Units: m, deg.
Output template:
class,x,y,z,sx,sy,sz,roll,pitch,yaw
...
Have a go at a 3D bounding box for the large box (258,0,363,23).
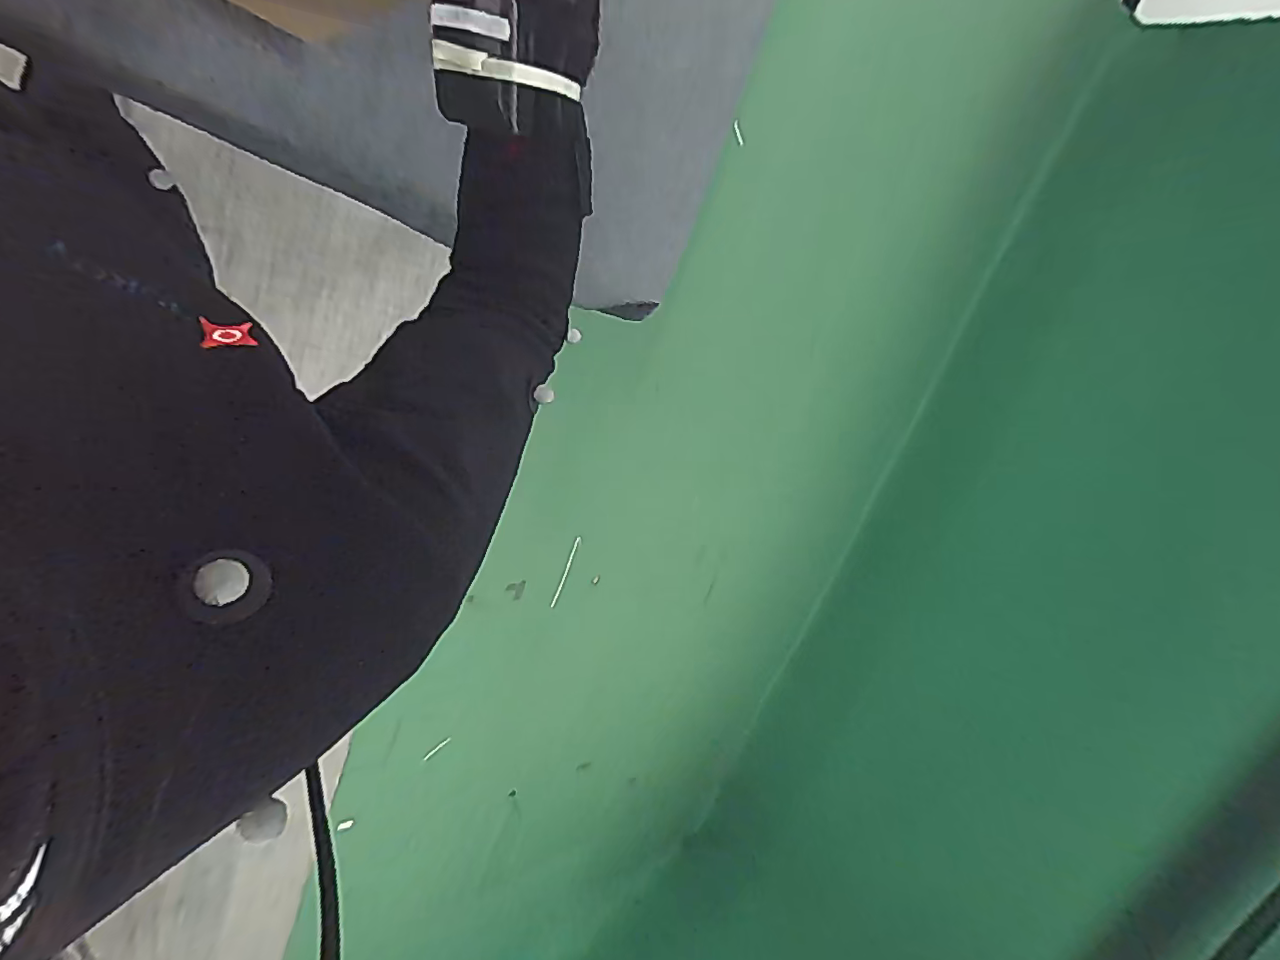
class,x,y,z,sx,sy,sz,roll,pitch,yaw
large box,-0.288,-0.473,0.199,0.408,0.320,0.320,0,116,-46
